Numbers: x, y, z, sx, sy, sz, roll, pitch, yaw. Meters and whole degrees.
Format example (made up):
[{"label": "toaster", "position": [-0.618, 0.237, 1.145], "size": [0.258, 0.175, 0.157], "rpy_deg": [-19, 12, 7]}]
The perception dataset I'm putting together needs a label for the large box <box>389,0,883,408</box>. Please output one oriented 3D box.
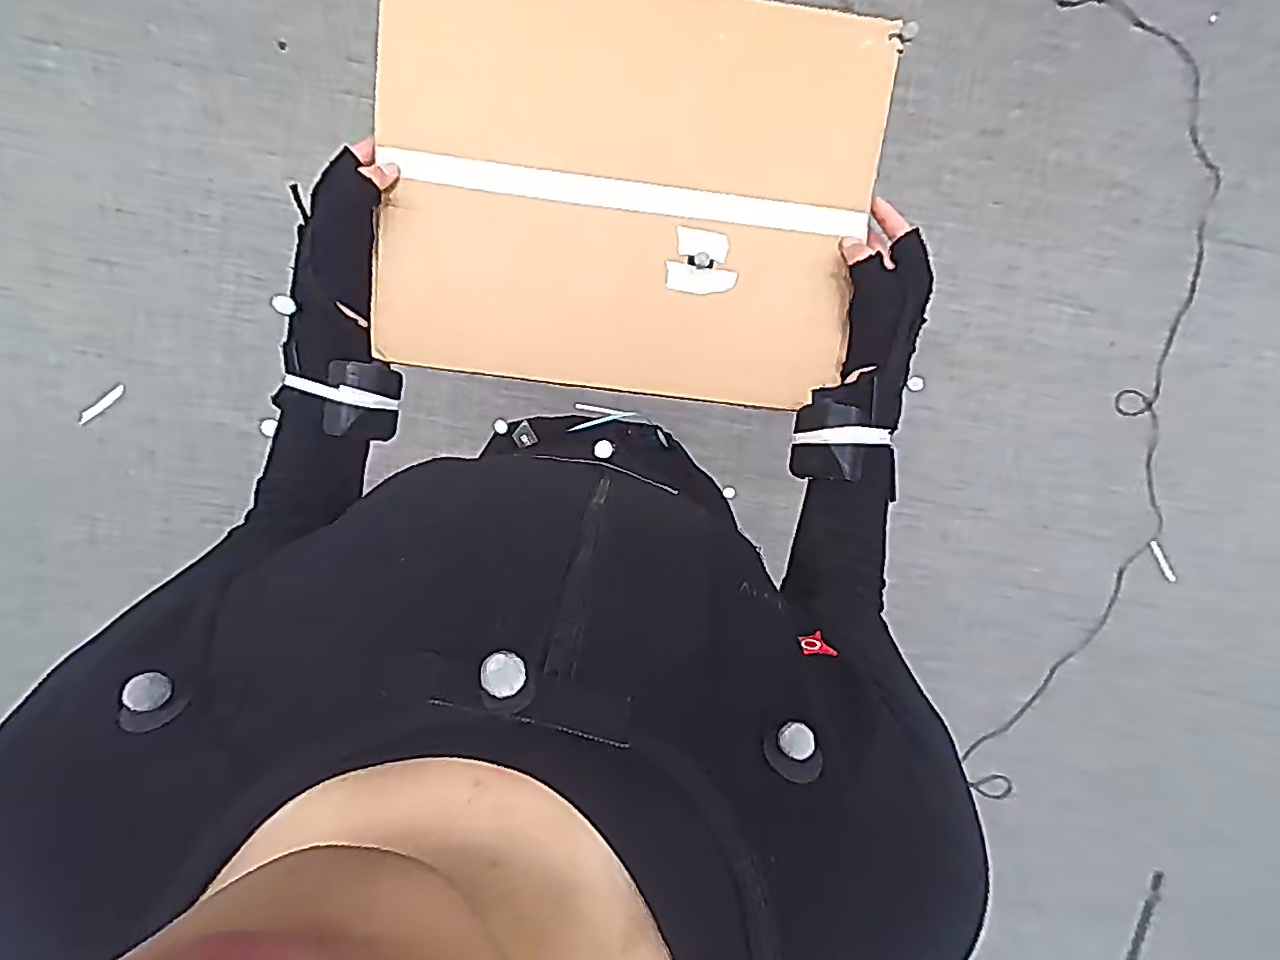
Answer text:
[{"label": "large box", "position": [-0.018, -0.259, 0.606], "size": [0.408, 0.320, 0.320], "rpy_deg": [6, 101, -4]}]
